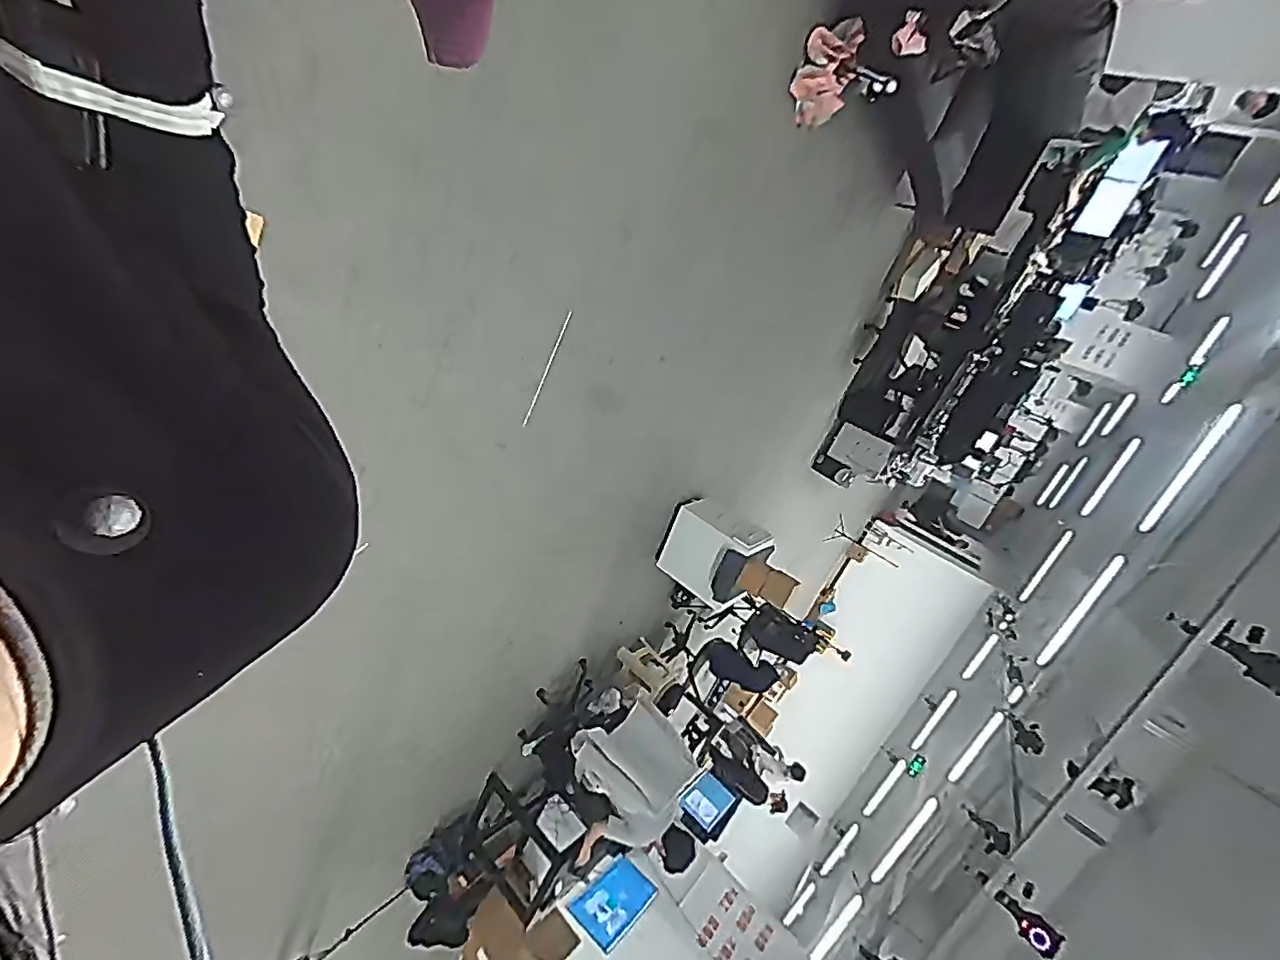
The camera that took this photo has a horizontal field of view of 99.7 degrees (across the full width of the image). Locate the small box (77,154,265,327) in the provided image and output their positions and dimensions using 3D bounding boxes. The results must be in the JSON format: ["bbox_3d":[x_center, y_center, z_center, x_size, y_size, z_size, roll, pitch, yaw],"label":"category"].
[{"bbox_3d":[-0.714,-0.361,0.822,0.168,0.176,0.179,4,114,-57],"label":"small box"}]
